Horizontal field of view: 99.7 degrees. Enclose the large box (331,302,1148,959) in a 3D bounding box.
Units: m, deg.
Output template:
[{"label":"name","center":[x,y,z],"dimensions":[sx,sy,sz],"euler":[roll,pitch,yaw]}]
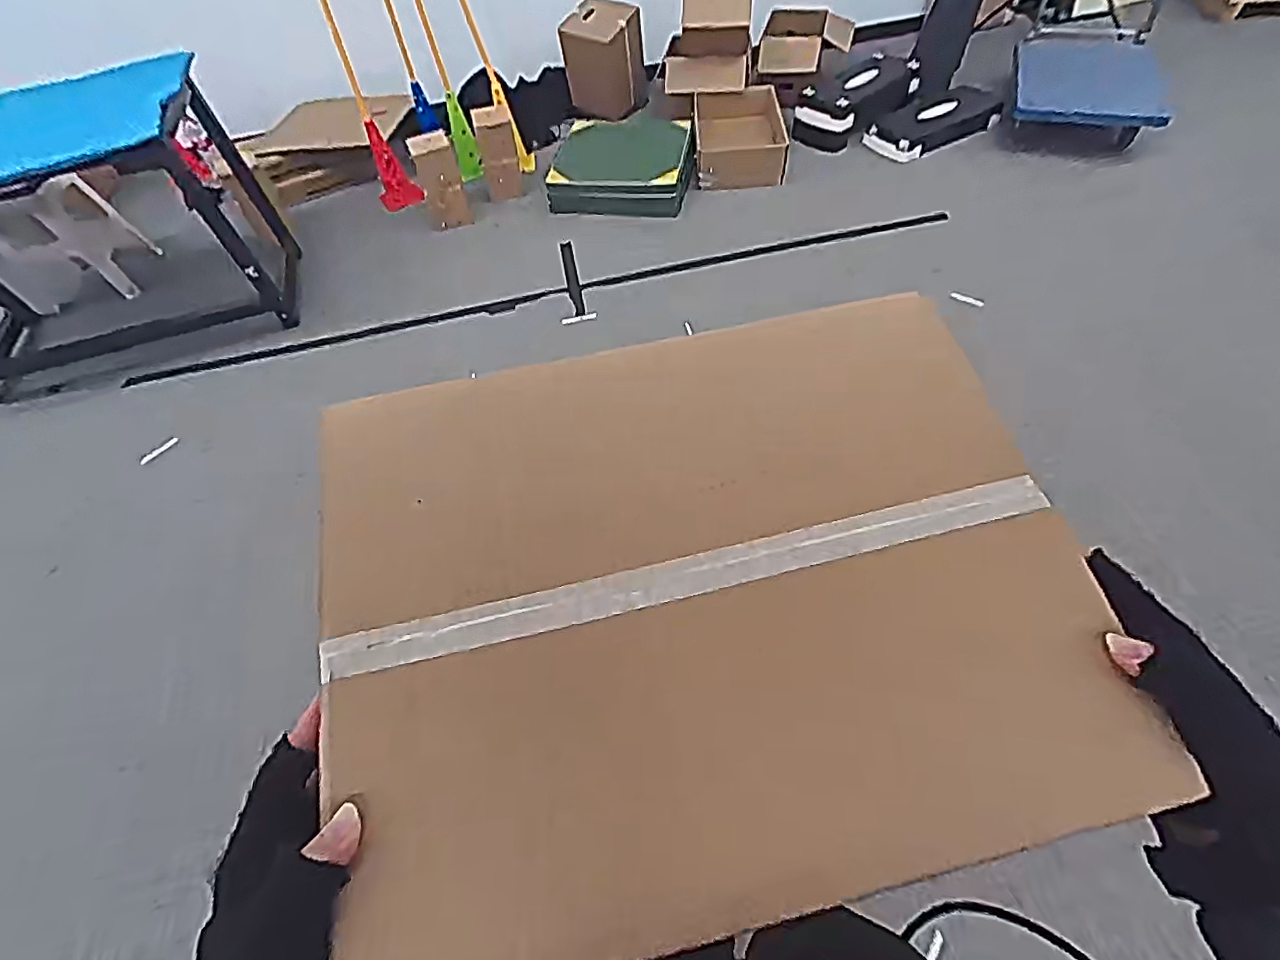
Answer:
[{"label":"large box","center":[0.033,0.111,0.445],"dimensions":[0.408,0.320,0.320],"euler":[-13,67,-4]}]
